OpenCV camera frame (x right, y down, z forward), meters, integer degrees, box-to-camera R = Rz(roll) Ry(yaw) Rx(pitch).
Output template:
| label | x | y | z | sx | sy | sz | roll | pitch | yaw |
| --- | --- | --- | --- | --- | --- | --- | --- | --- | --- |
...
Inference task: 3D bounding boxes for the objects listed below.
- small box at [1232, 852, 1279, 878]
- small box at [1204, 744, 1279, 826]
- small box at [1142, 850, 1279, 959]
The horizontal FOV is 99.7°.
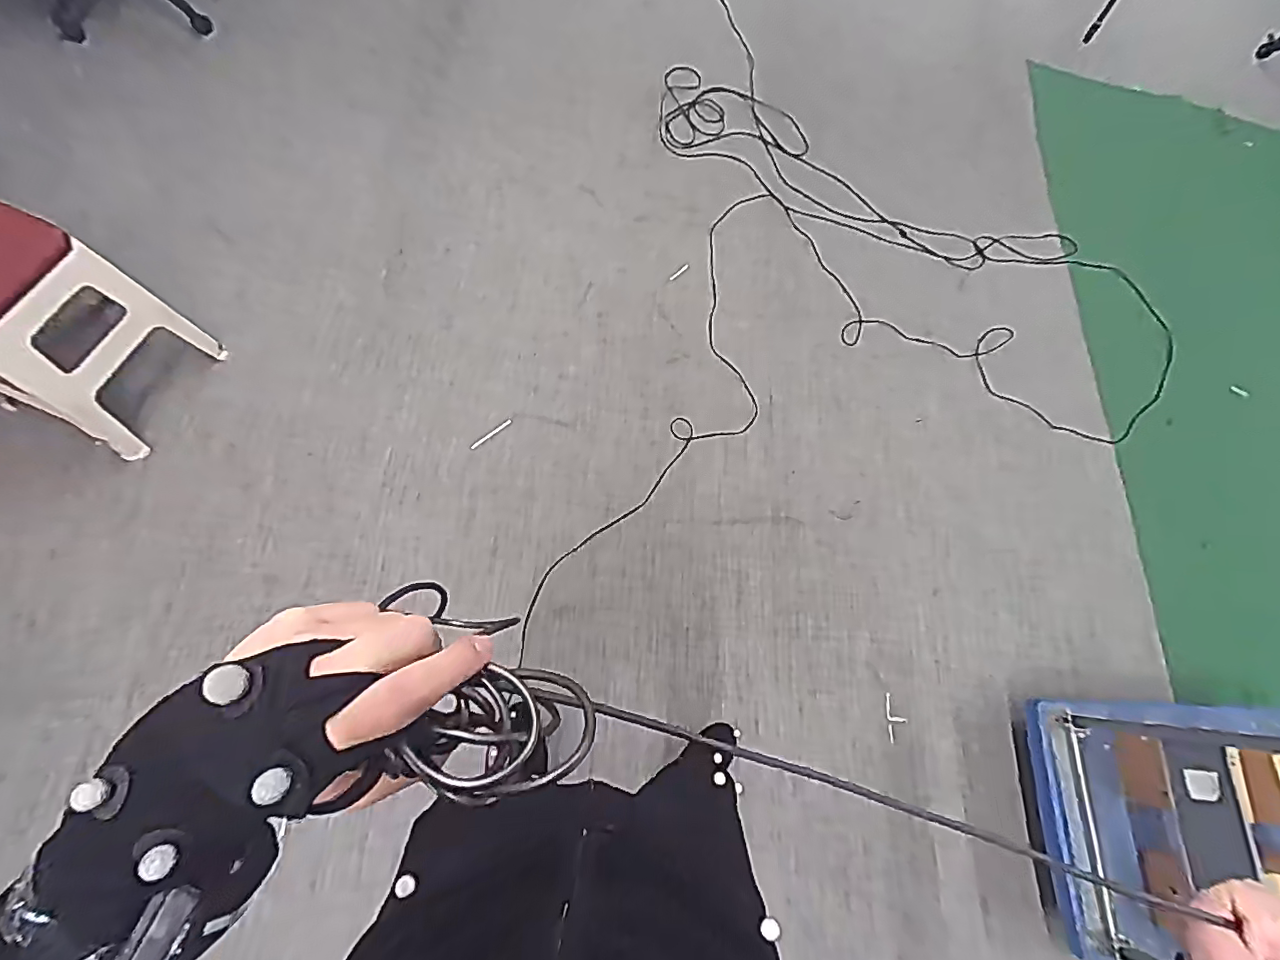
| label | x | y | z | sx | sy | sz | roll | pitch | yaw |
| --- | --- | --- | --- | --- | --- | --- | --- | --- | --- |
| small box | 1.610 | 1.015 | 1.297 | 0.179 | 0.176 | 0.168 | 2 | 70 | -8 |
| small box | 1.606 | 0.777 | 1.378 | 0.179 | 0.176 | 0.168 | 3 | 72 | -9 |
| small box | 1.344 | 0.987 | 1.262 | 0.179 | 0.176 | 0.168 | 7 | 71 | -7 |
